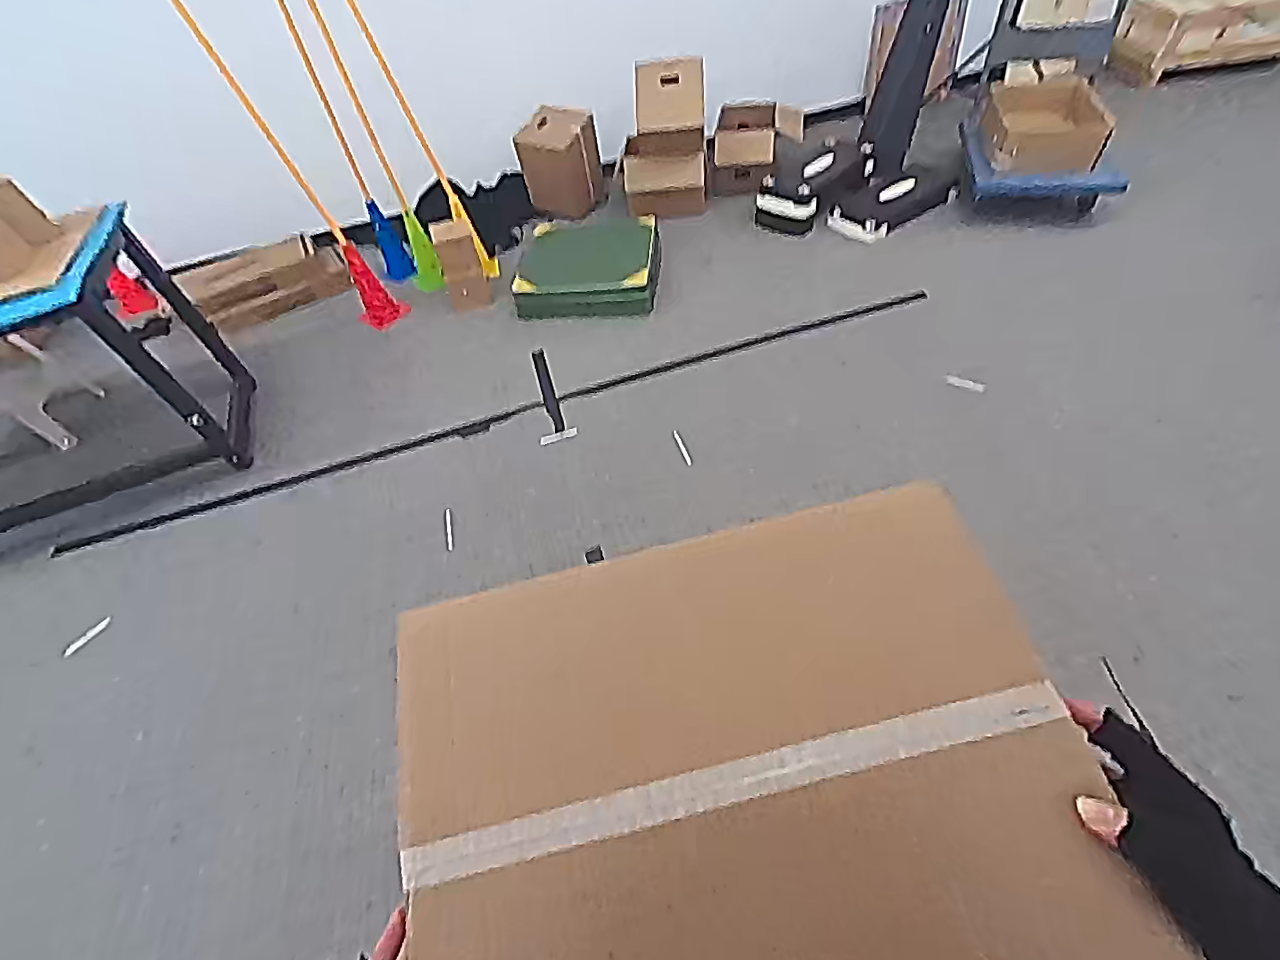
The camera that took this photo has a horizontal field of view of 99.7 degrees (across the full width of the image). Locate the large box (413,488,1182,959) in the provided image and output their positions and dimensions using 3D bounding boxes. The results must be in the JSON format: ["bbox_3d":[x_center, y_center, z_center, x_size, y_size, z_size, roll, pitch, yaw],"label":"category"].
[{"bbox_3d":[0.071,0.254,0.467,0.408,0.320,0.320,-14,63,-1],"label":"large box"}]
